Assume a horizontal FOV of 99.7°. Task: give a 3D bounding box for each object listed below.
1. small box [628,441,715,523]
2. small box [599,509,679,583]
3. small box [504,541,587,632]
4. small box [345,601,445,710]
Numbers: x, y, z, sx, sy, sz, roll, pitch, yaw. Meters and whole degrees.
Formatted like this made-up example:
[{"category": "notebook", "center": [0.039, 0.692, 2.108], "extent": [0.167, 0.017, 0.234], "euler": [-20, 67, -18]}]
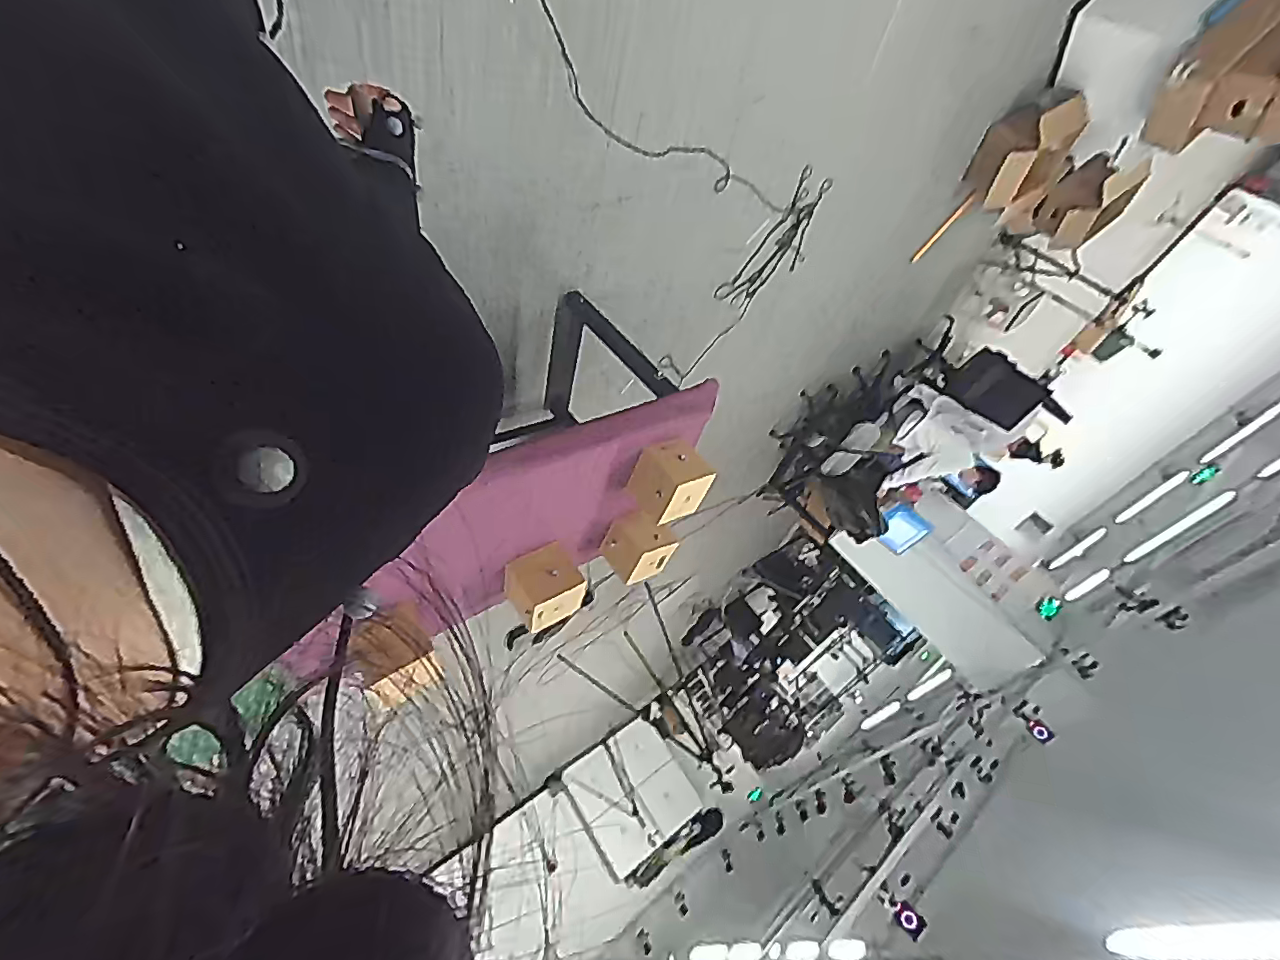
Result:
[{"category": "small box", "center": [0.088, -0.003, 1.633], "extent": [0.168, 0.176, 0.179], "euler": [-17, 145, -39]}, {"category": "small box", "center": [-0.007, 0.217, 1.845], "extent": [0.179, 0.176, 0.168], "euler": [-12, 141, -42]}, {"category": "small box", "center": [-0.287, 0.313, 1.622], "extent": [0.179, 0.176, 0.168], "euler": [-24, 147, -33]}, {"category": "small box", "center": [-0.617, 0.440, 1.372], "extent": [0.168, 0.176, 0.179], "euler": [-27, 149, -30]}]
